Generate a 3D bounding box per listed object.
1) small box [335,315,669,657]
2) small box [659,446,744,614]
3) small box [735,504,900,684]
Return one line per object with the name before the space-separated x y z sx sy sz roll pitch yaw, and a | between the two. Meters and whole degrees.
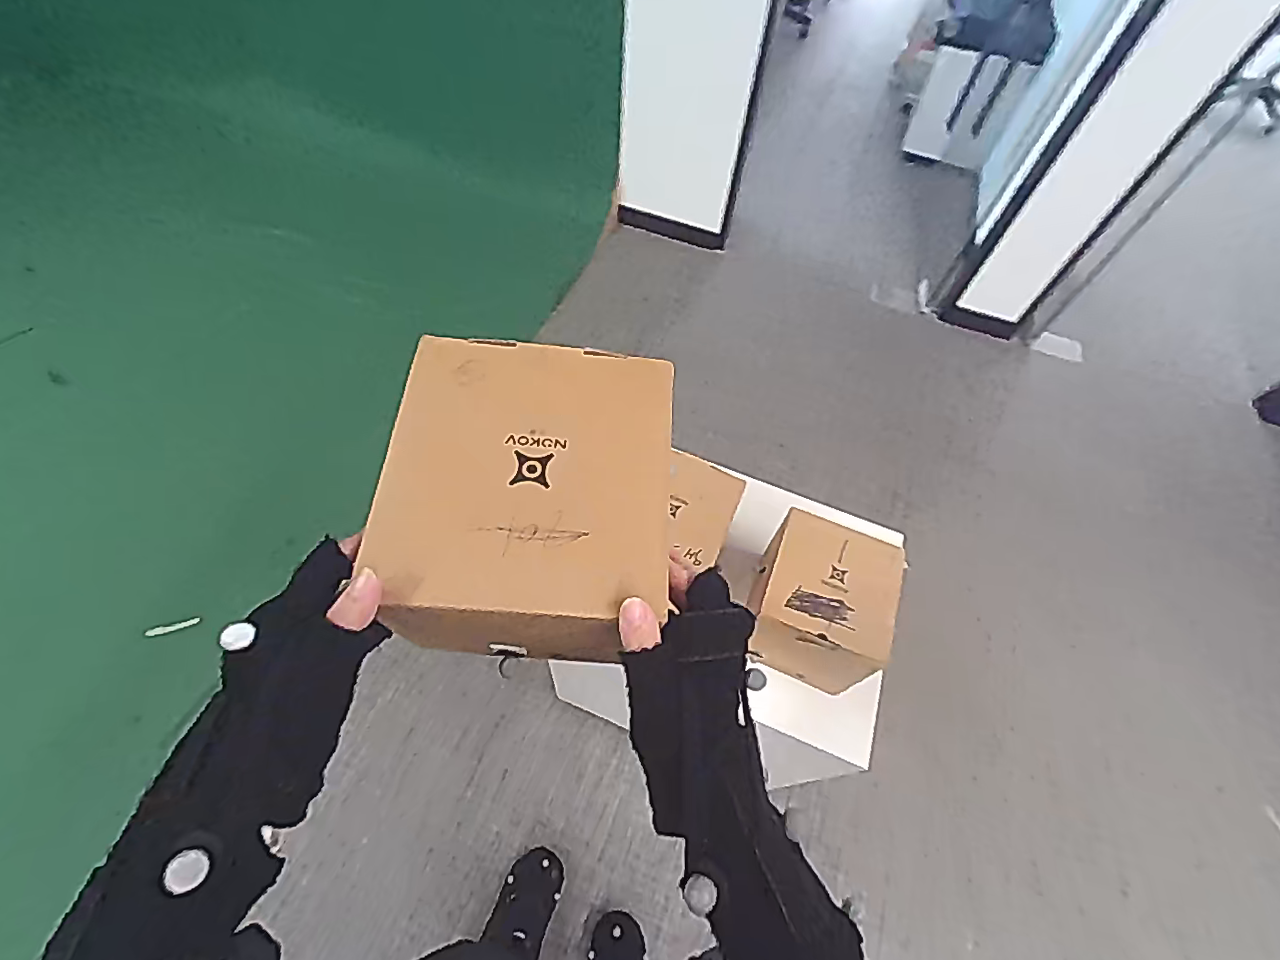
small box | -0.076 0.016 0.379 0.168 0.176 0.179 5 63 -5
small box | 0.040 0.075 0.831 0.168 0.176 0.179 23 57 11
small box | 0.248 0.172 0.786 0.168 0.176 0.179 22 57 10
